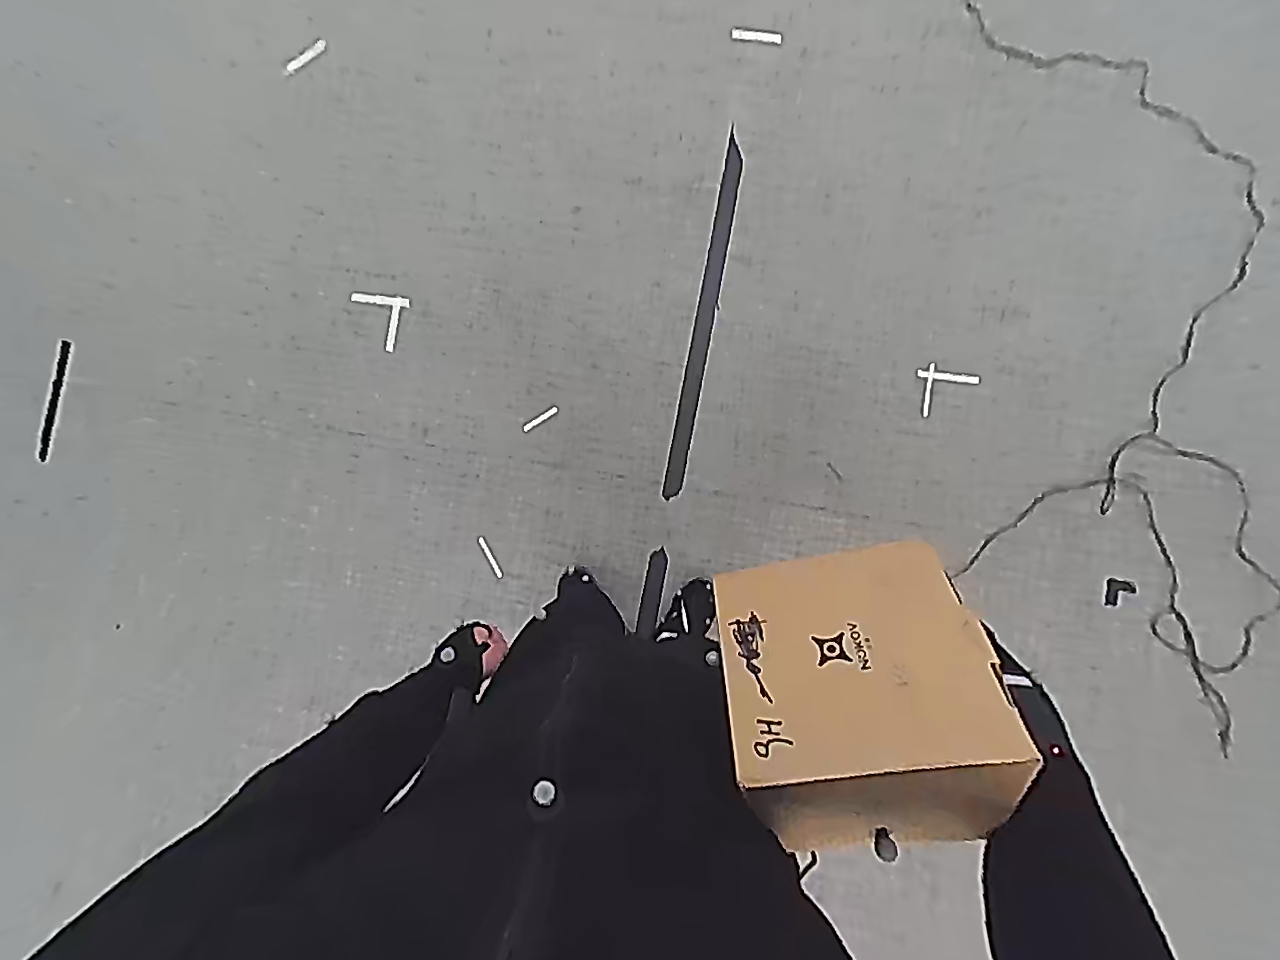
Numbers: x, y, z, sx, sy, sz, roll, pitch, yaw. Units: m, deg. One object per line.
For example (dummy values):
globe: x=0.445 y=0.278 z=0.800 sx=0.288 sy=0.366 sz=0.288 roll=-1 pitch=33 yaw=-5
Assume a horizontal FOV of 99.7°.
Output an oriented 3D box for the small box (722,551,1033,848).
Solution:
small box: x=0.173 y=0.185 z=0.446 sx=0.179 sy=0.176 sz=0.168 roll=-11 pitch=42 yaw=11
